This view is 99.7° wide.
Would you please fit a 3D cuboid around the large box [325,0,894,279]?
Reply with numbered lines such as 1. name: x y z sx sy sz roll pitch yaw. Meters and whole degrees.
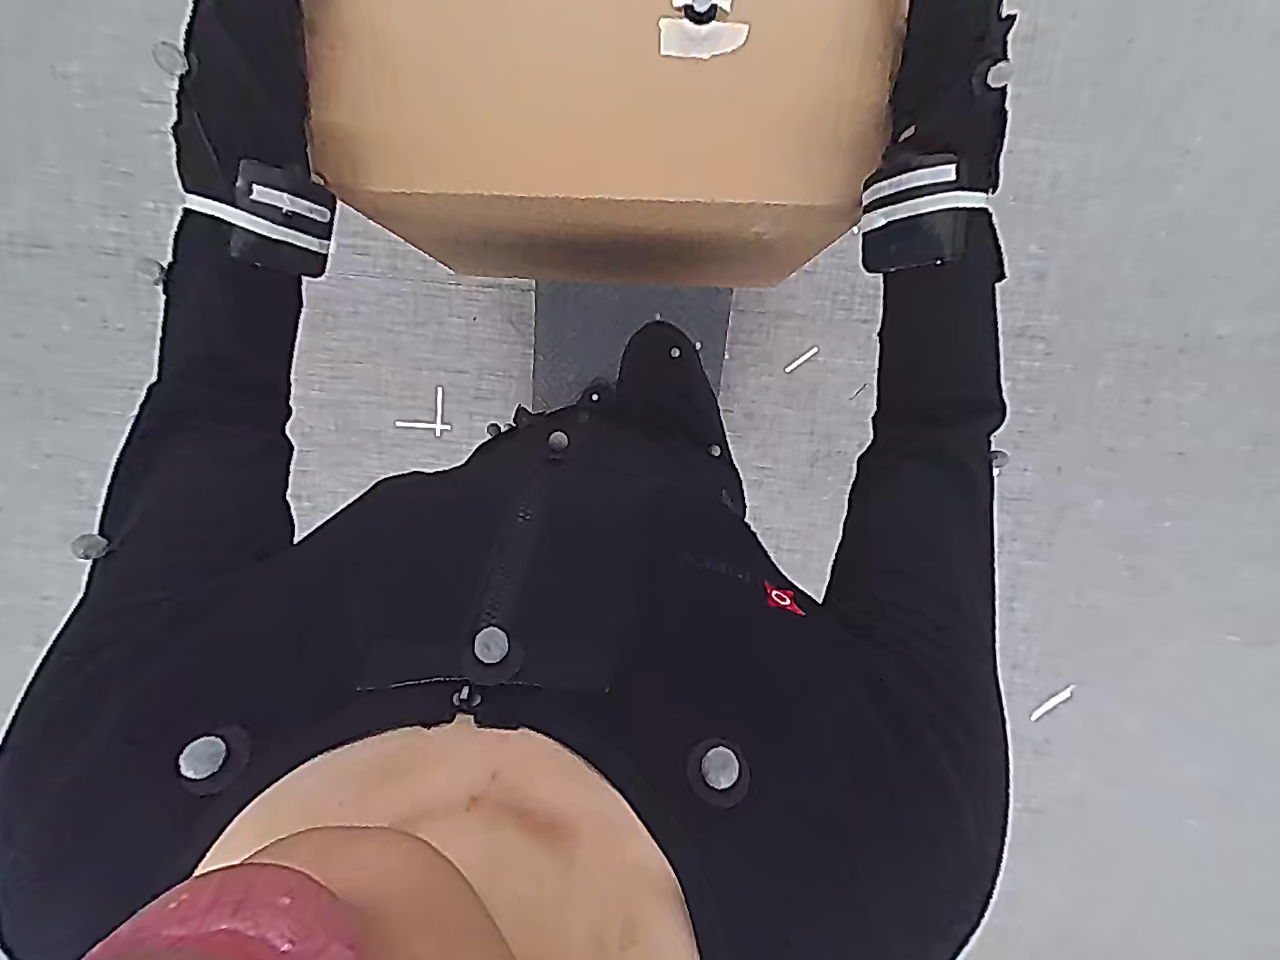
1. large box: -0.021 -0.386 0.519 0.408 0.320 0.320 2 100 0
